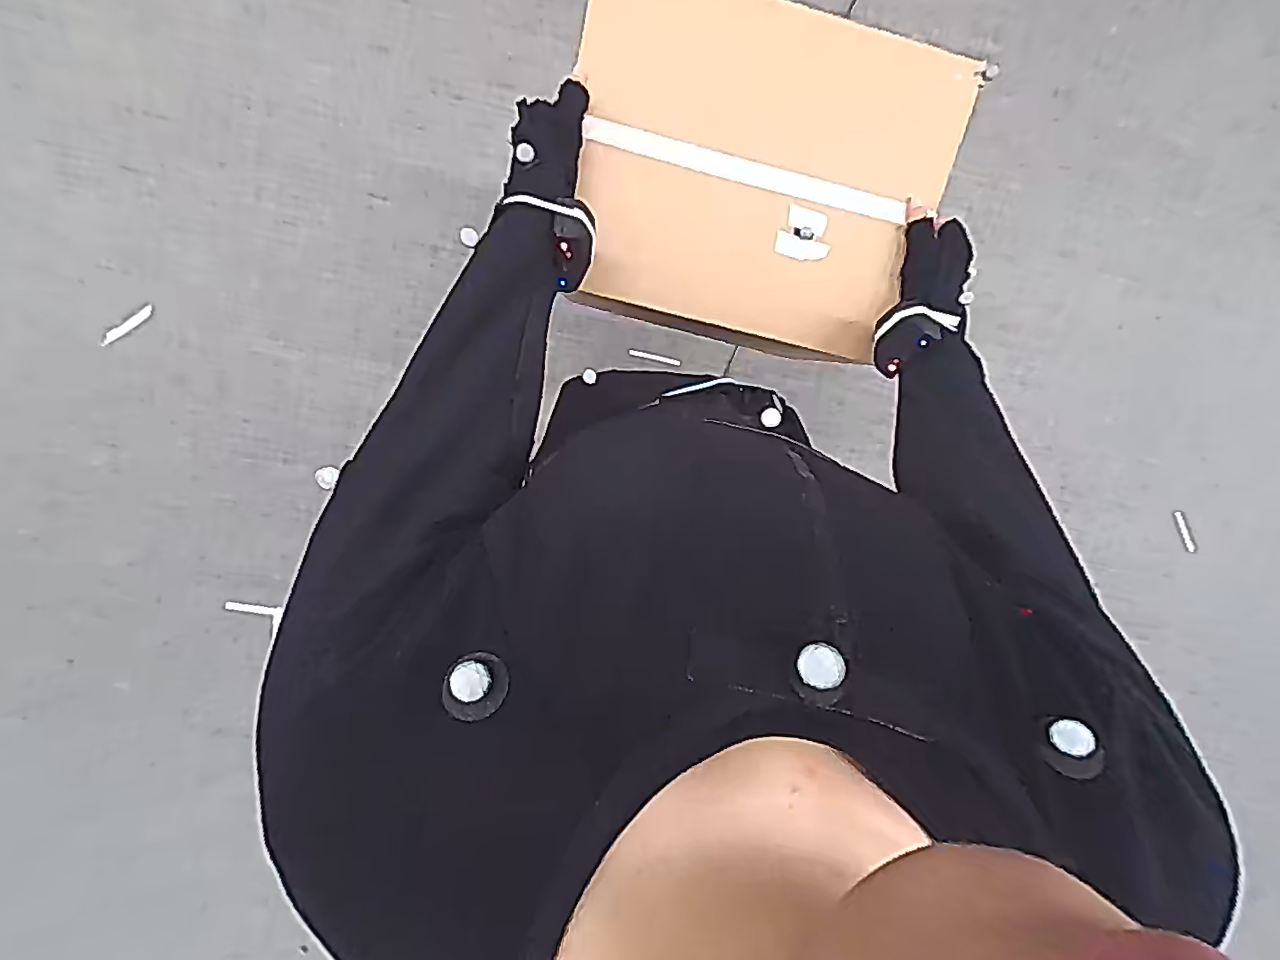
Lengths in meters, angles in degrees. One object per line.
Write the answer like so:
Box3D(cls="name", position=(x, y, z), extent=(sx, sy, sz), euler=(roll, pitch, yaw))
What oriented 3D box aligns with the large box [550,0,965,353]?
Box3D(cls="large box", position=(0.113, -0.370, 0.731), extent=(0.408, 0.320, 0.320), euler=(12, 105, -7))
